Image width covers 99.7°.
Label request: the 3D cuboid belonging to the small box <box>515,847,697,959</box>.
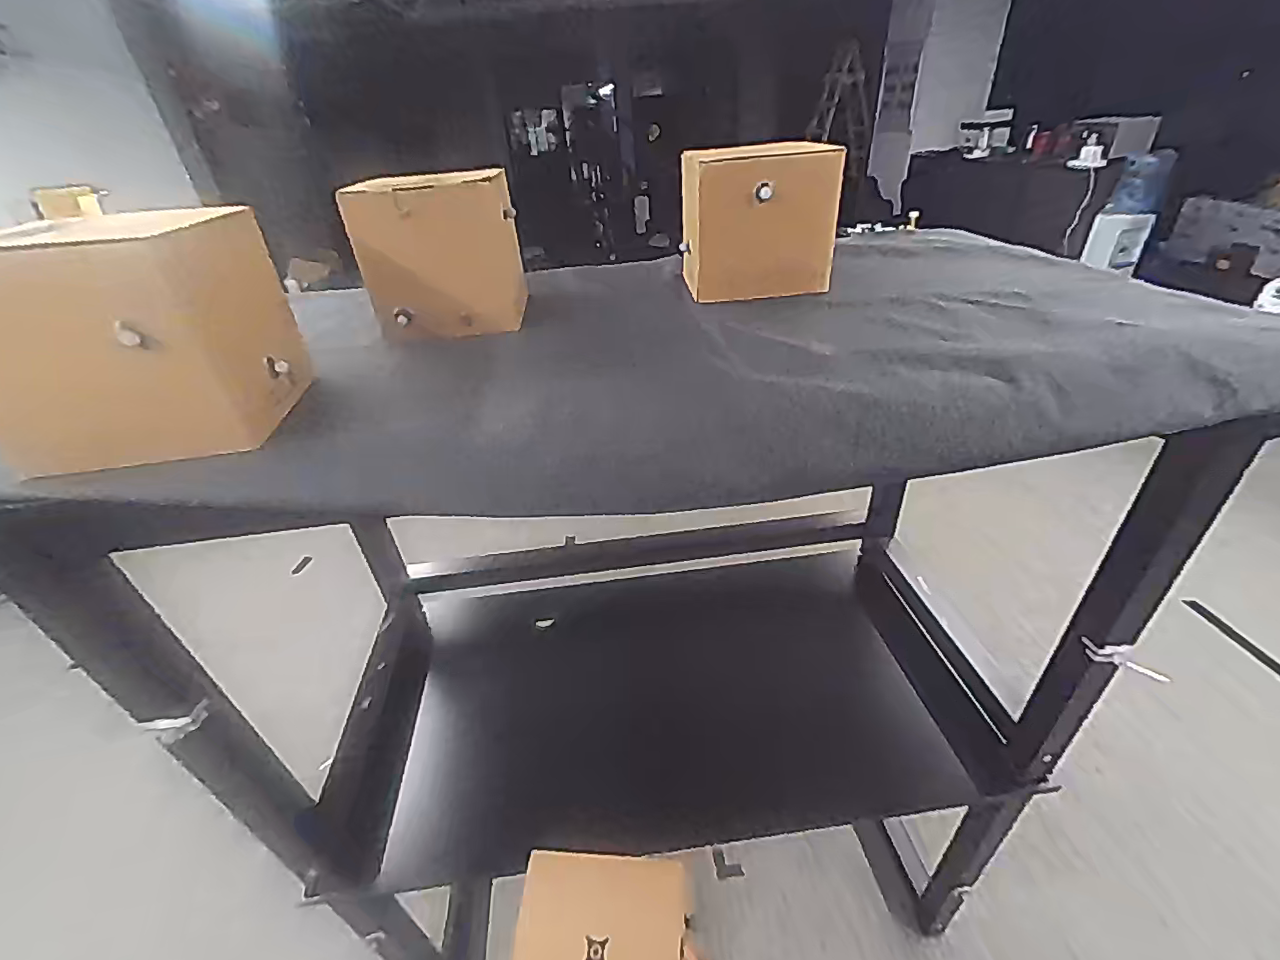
[{"bbox_3d":[-0.029,0.511,0.560,0.168,0.176,0.179,-2,43,9],"label":"small box"}]

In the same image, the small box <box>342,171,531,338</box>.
[{"bbox_3d":[-0.239,-0.286,0.692,0.168,0.176,0.179,-7,33,-3],"label":"small box"}]

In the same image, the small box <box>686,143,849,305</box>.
[{"bbox_3d":[0.158,-0.348,0.733,0.179,0.176,0.168,-6,34,1],"label":"small box"}]
